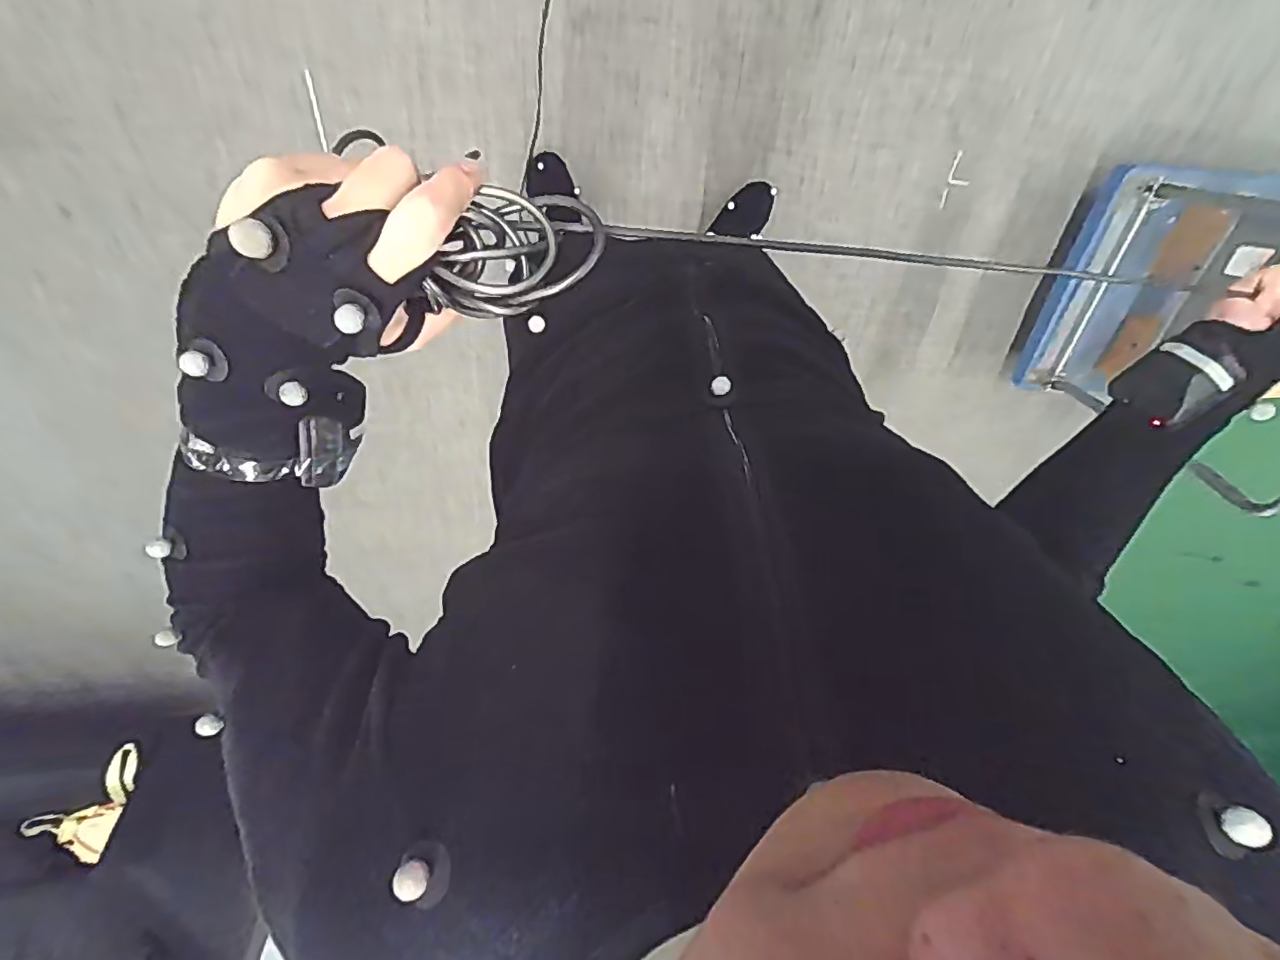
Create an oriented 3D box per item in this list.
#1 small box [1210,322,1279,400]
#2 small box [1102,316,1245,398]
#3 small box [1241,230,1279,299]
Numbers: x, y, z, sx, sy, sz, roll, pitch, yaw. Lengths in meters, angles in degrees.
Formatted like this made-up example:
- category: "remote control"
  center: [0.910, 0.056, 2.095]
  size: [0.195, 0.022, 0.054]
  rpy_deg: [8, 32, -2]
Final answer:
- category: "small box"
  center: [1.693, -0.331, 1.490]
  size: [0.179, 0.176, 0.168]
  rpy_deg: [-2, 124, -4]
- category: "small box"
  center: [1.425, -0.334, 1.458]
  size: [0.179, 0.176, 0.168]
  rpy_deg: [2, 124, -7]
- category: "small box"
  center: [1.694, -0.539, 1.347]
  size: [0.179, 0.176, 0.168]
  rpy_deg: [-3, 126, -5]
